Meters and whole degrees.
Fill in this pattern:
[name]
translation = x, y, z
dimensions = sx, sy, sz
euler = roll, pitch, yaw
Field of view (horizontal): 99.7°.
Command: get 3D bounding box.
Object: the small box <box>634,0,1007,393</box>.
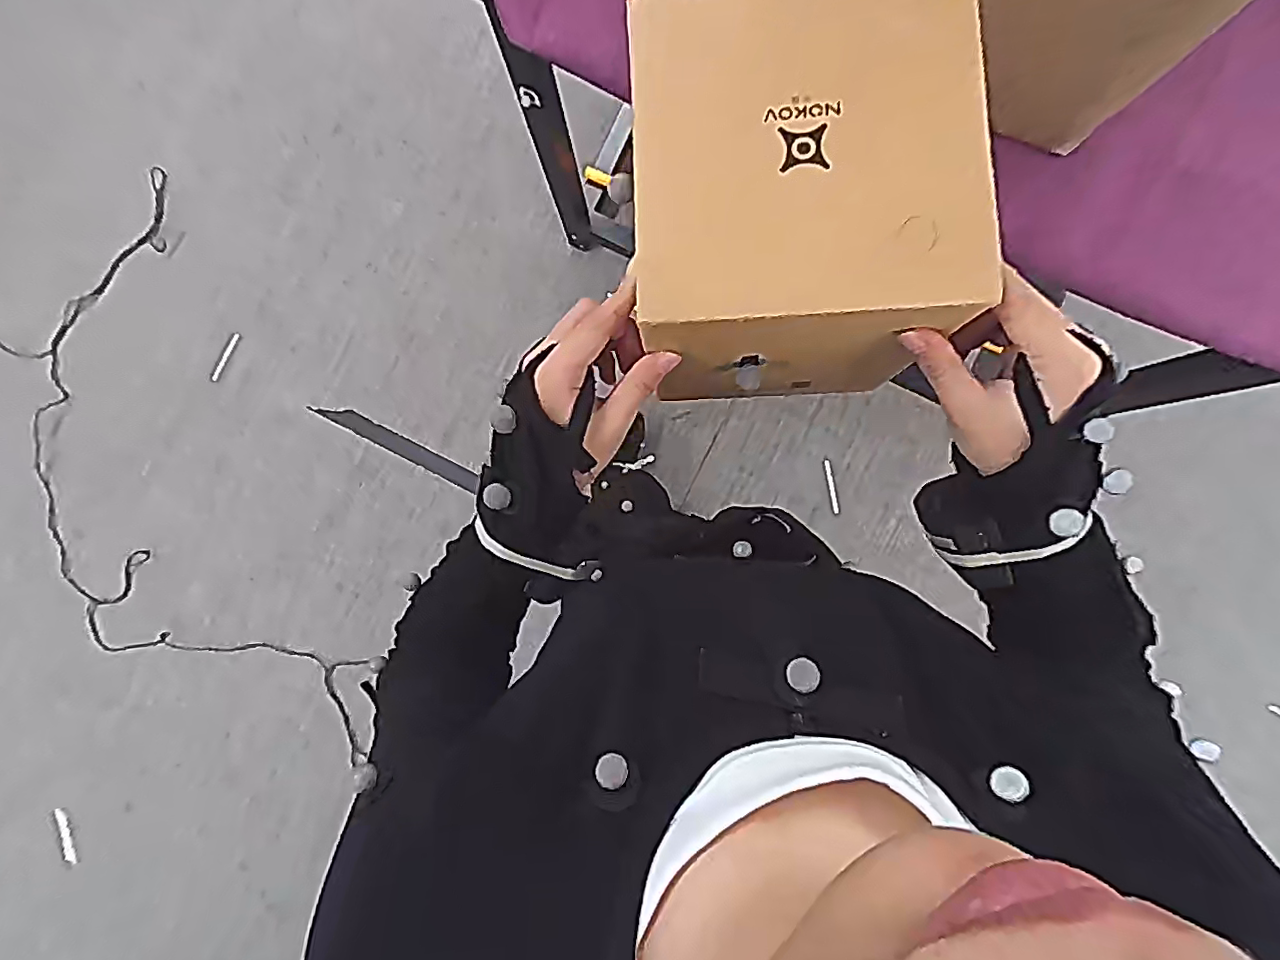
[small box]
translation = 0.089, -0.156, 0.335
dimensions = 0.168, 0.176, 0.179
euler = -3, 84, 6
